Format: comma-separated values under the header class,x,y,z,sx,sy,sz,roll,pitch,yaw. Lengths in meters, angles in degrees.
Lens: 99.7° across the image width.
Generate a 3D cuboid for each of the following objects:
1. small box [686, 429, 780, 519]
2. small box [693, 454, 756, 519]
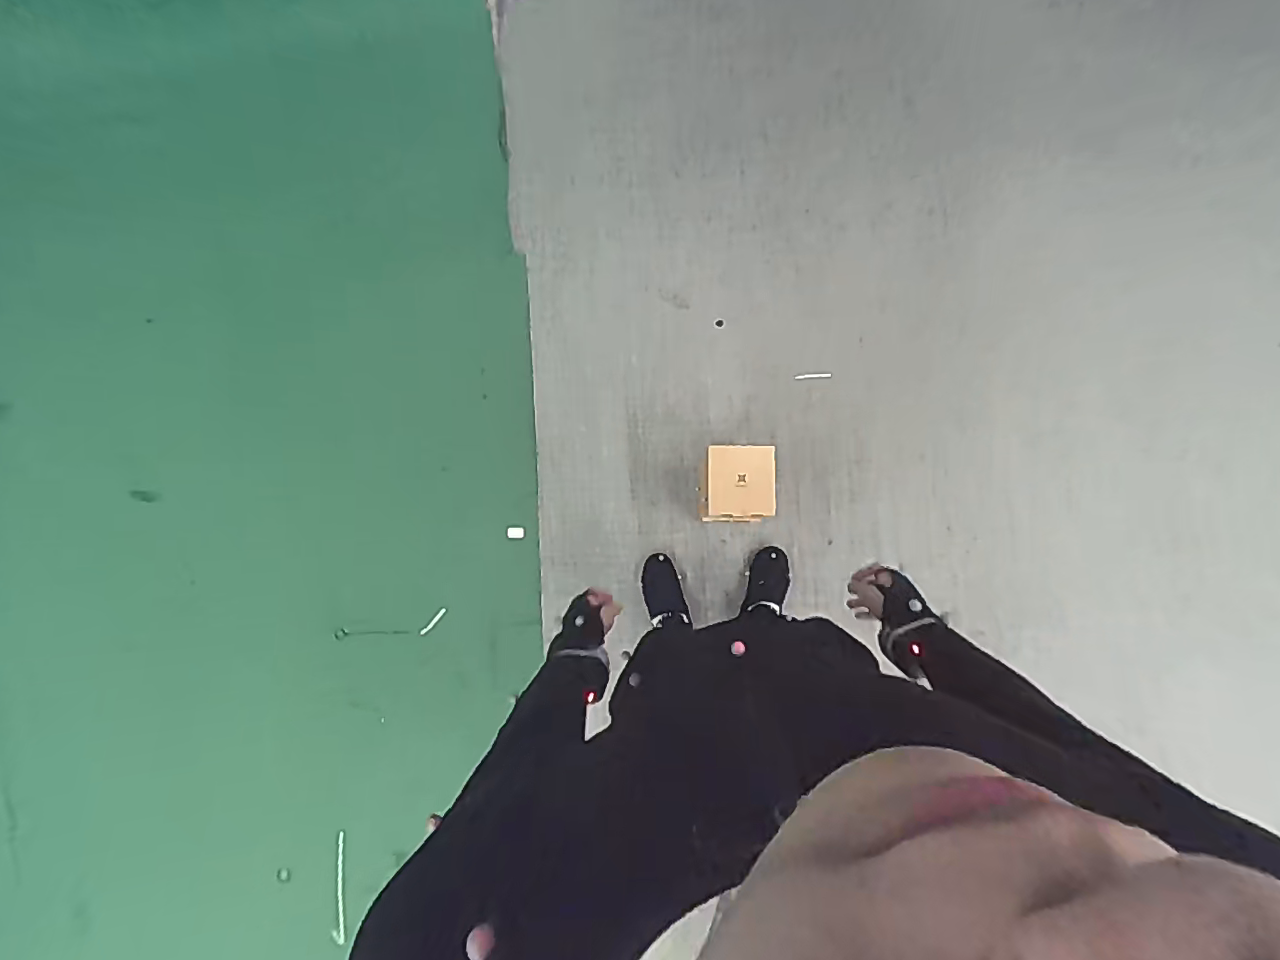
class,x,y,z,sx,sy,sz,roll,pitch,yaw
small box,0.233,-0.009,1.408,0.179,0.176,0.168,32,89,5
small box,0.241,0.023,1.560,0.168,0.176,0.179,1,85,2
